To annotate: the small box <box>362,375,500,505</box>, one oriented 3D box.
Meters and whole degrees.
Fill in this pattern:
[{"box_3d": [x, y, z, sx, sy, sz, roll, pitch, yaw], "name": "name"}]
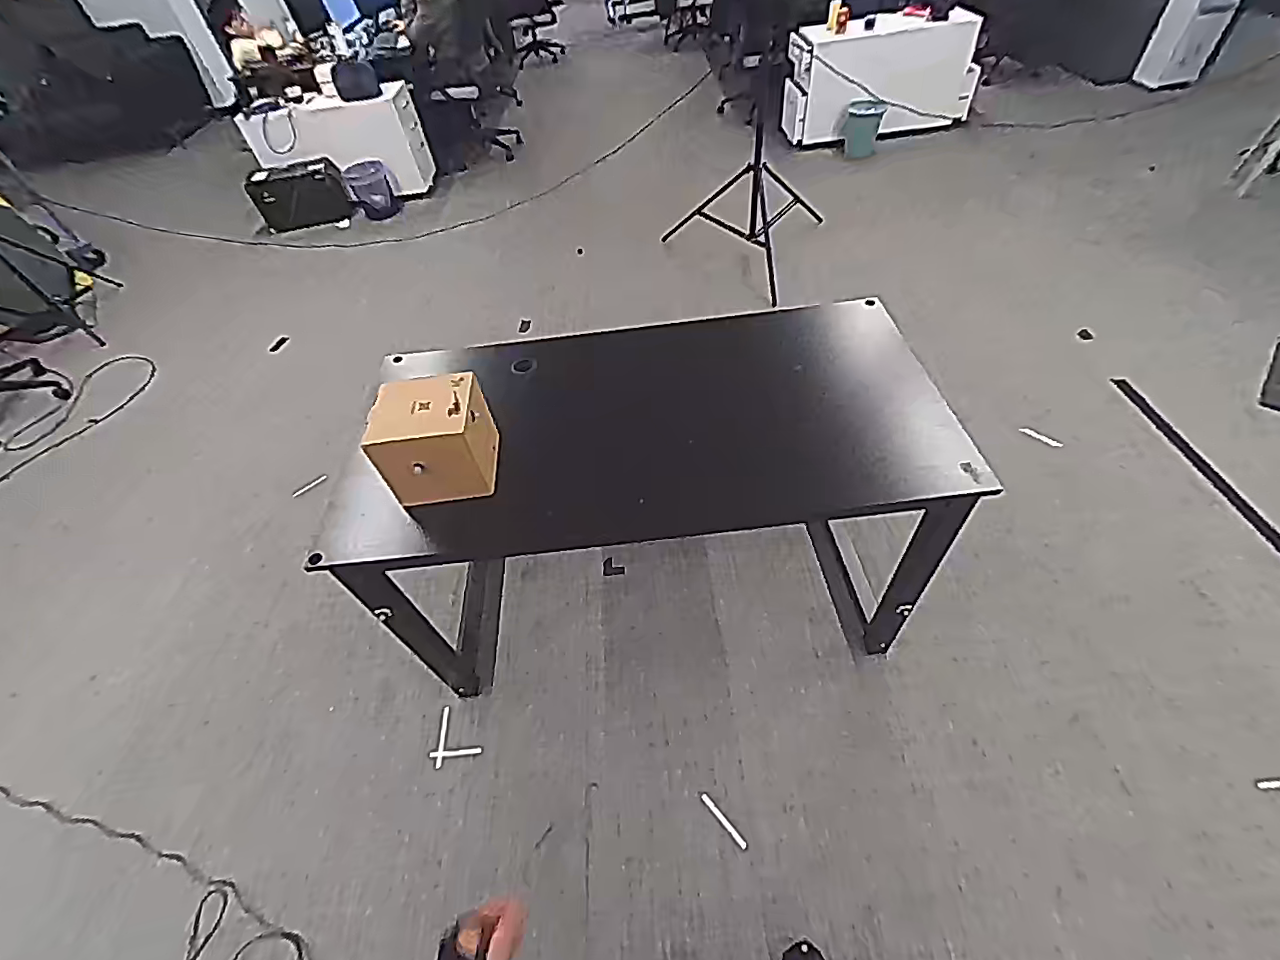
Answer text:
[{"box_3d": [-0.376, -0.069, 1.007, 0.179, 0.176, 0.168, -8, 49, 1], "name": "small box"}]
